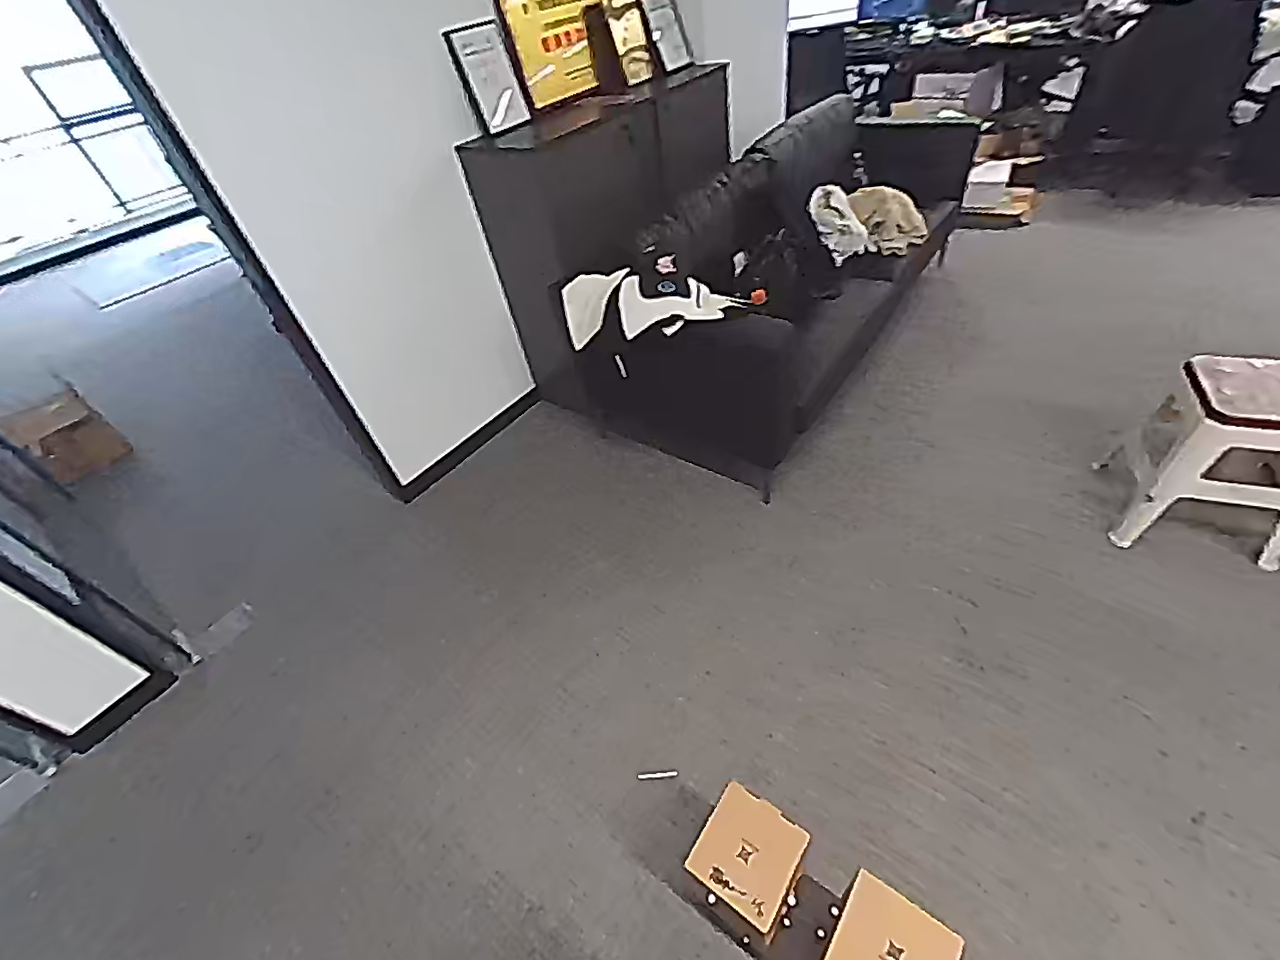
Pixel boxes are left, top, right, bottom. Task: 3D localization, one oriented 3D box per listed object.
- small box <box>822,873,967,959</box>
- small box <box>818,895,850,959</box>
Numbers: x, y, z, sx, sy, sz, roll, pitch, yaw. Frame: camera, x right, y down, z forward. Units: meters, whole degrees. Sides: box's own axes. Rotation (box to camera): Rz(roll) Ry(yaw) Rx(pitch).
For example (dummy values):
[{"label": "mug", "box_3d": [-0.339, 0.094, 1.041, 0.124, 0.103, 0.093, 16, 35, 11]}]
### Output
[{"label": "small box", "box_3d": [0.405, 0.806, 0.892, 0.168, 0.176, 0.179, 23, 53, 32]}, {"label": "small box", "box_3d": [0.422, 0.929, 1.000, 0.168, 0.176, 0.179, 23, 52, 31]}]
